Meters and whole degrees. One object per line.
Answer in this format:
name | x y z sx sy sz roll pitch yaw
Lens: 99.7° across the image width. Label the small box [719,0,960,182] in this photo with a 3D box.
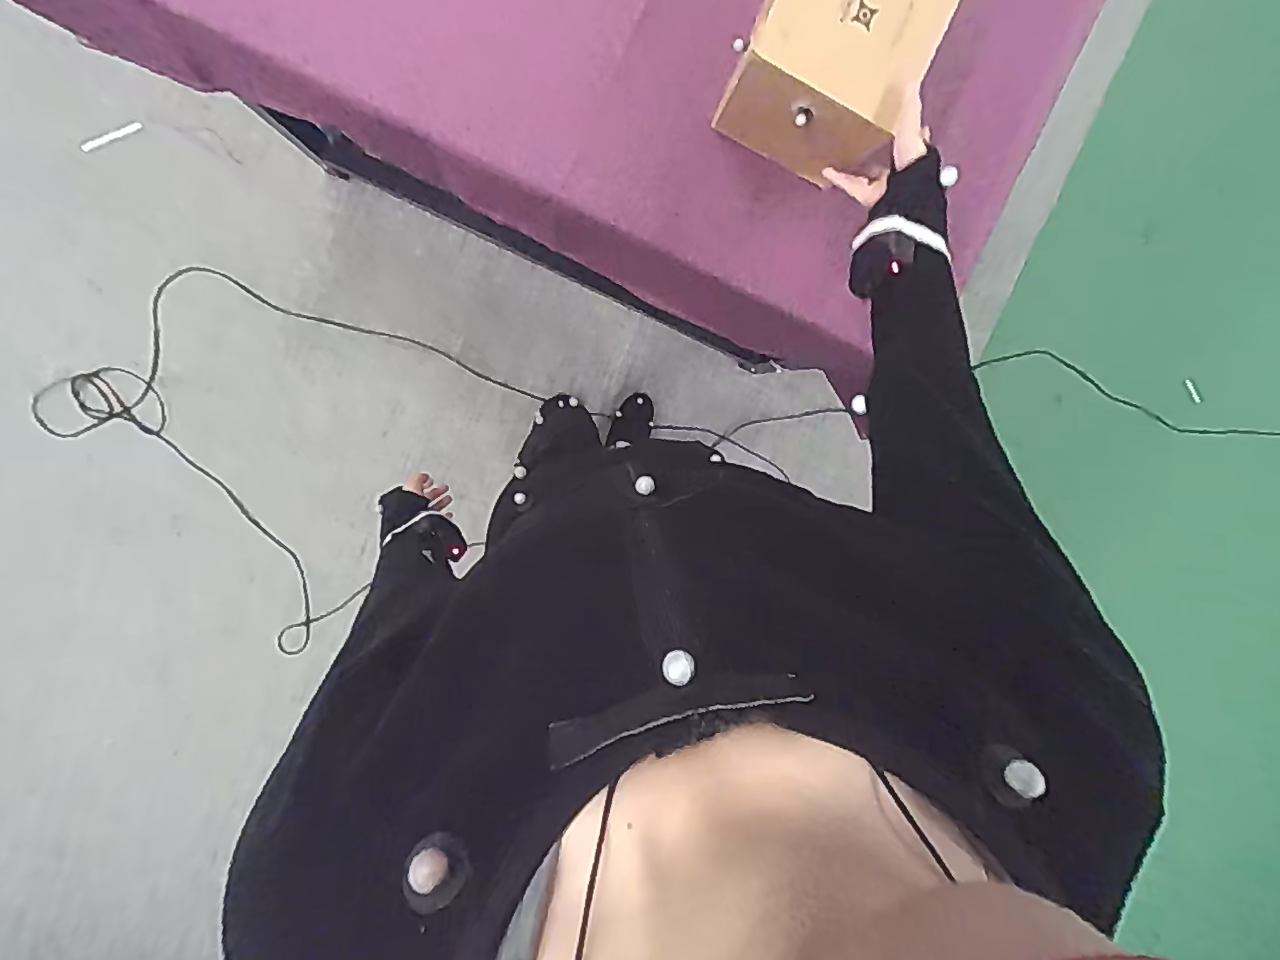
small box | 0.212 -0.477 0.617 0.179 0.176 0.168 23 97 -10
